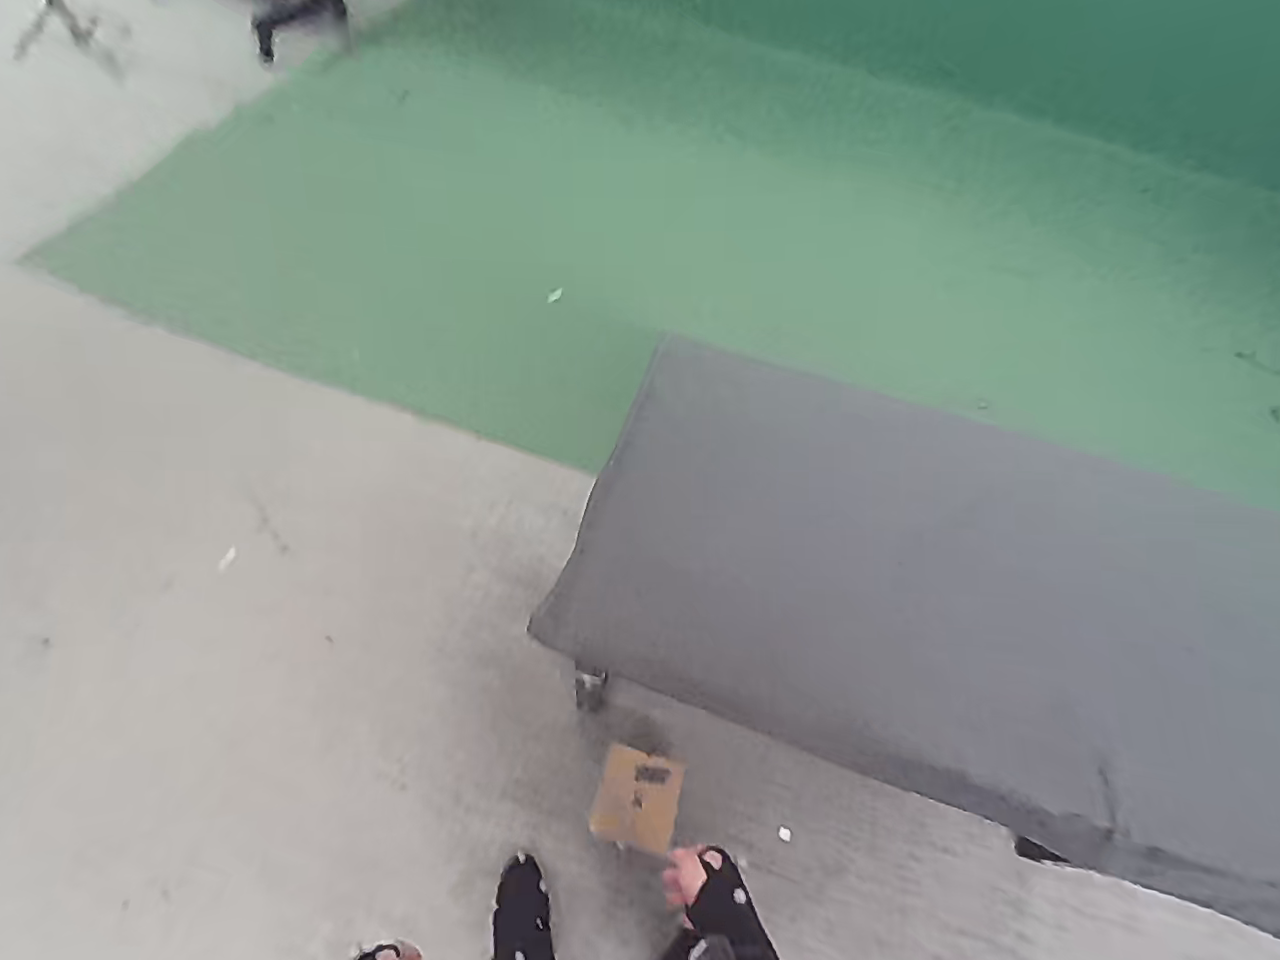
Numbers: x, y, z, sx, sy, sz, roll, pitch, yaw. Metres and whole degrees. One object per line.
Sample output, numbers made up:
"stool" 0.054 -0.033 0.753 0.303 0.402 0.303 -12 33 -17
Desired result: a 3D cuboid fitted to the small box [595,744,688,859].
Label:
"small box" -0.001 0.709 1.202 0.168 0.176 0.179 15 61 4
